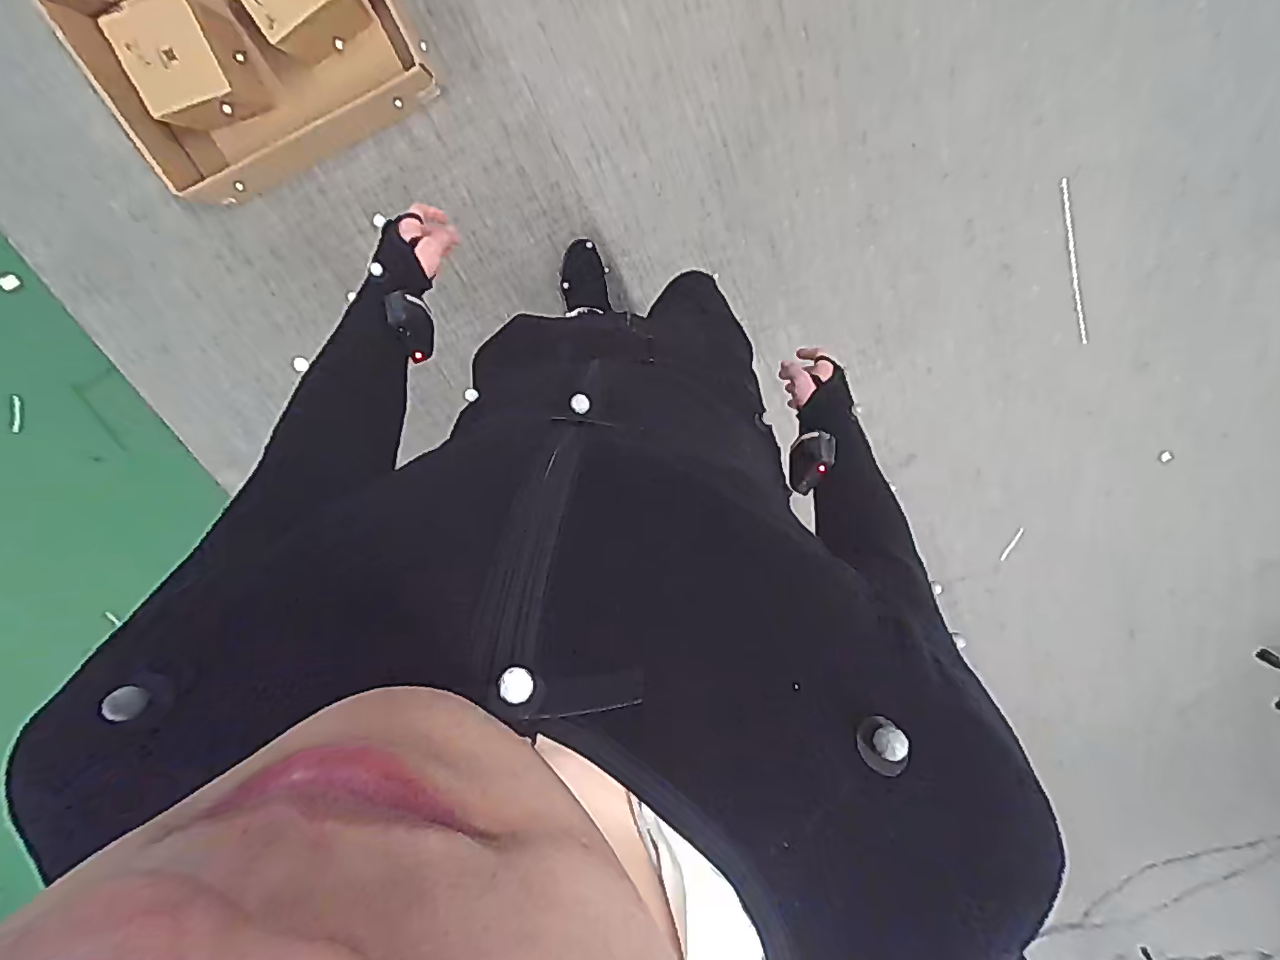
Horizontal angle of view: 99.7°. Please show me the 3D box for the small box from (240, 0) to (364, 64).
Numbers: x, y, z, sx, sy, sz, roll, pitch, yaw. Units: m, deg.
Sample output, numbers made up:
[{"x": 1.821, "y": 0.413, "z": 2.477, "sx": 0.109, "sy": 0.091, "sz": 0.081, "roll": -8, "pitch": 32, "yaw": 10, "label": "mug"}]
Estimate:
[{"x": -0.683, "y": -0.977, "z": 1.071, "sx": 0.179, "sy": 0.176, "sz": 0.168, "roll": -28, "pitch": 114, "yaw": 9, "label": "small box"}]

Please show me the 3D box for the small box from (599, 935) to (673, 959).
[{"x": 0.000, "y": 1.350, "z": 1.423, "sx": 0.168, "sy": 0.176, "sz": 0.179, "roll": -24, "pitch": 114, "yaw": 6, "label": "small box"}]
